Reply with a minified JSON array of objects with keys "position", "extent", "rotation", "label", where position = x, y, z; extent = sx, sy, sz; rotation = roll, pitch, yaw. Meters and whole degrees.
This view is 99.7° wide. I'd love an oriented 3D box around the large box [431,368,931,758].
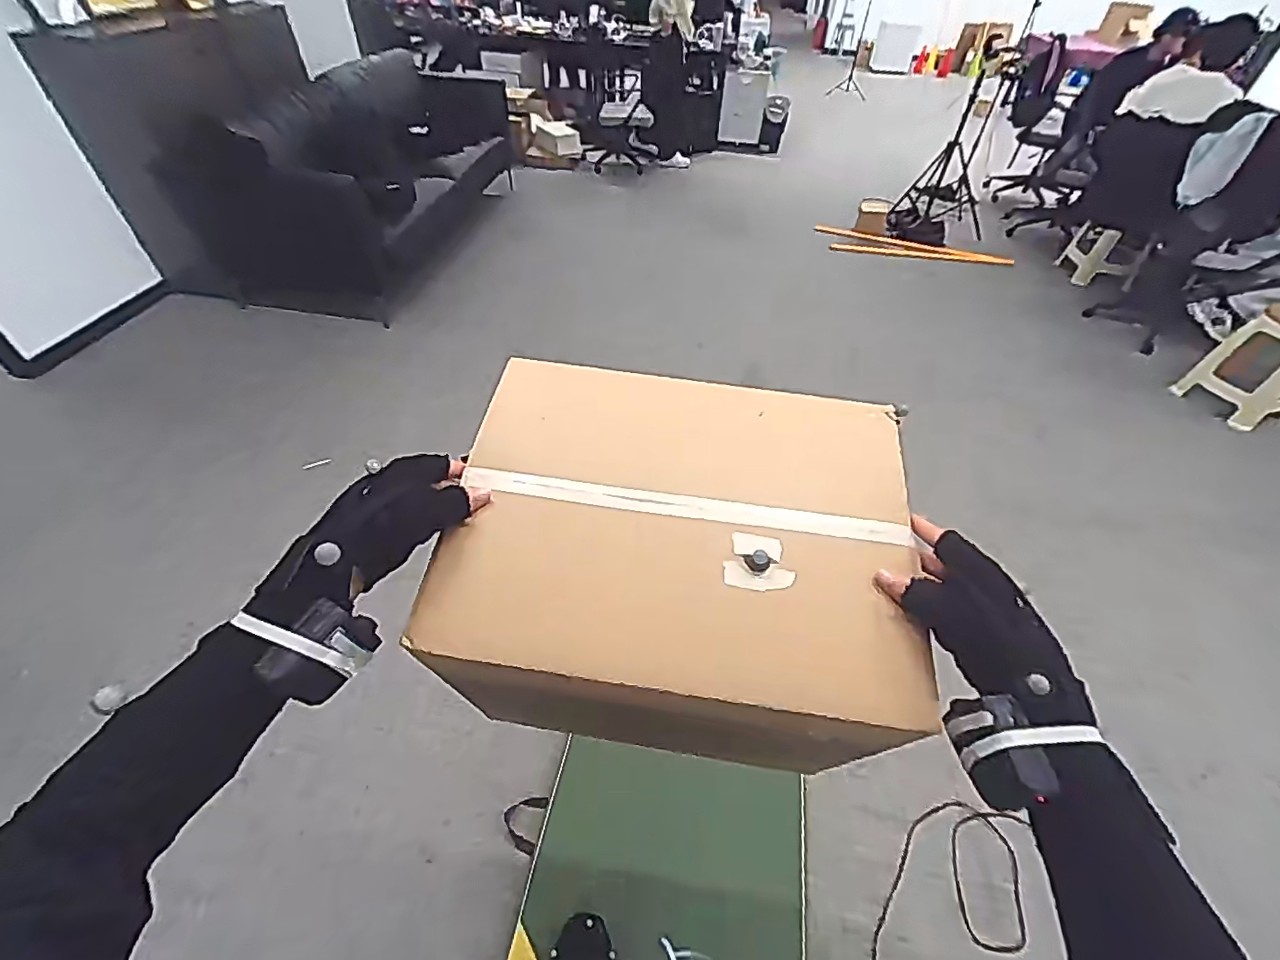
[{"position":[0.039,0.108,0.625],"extent":[0.408,0.320,0.320],"rotation":[8,58,2],"label":"large box"}]
